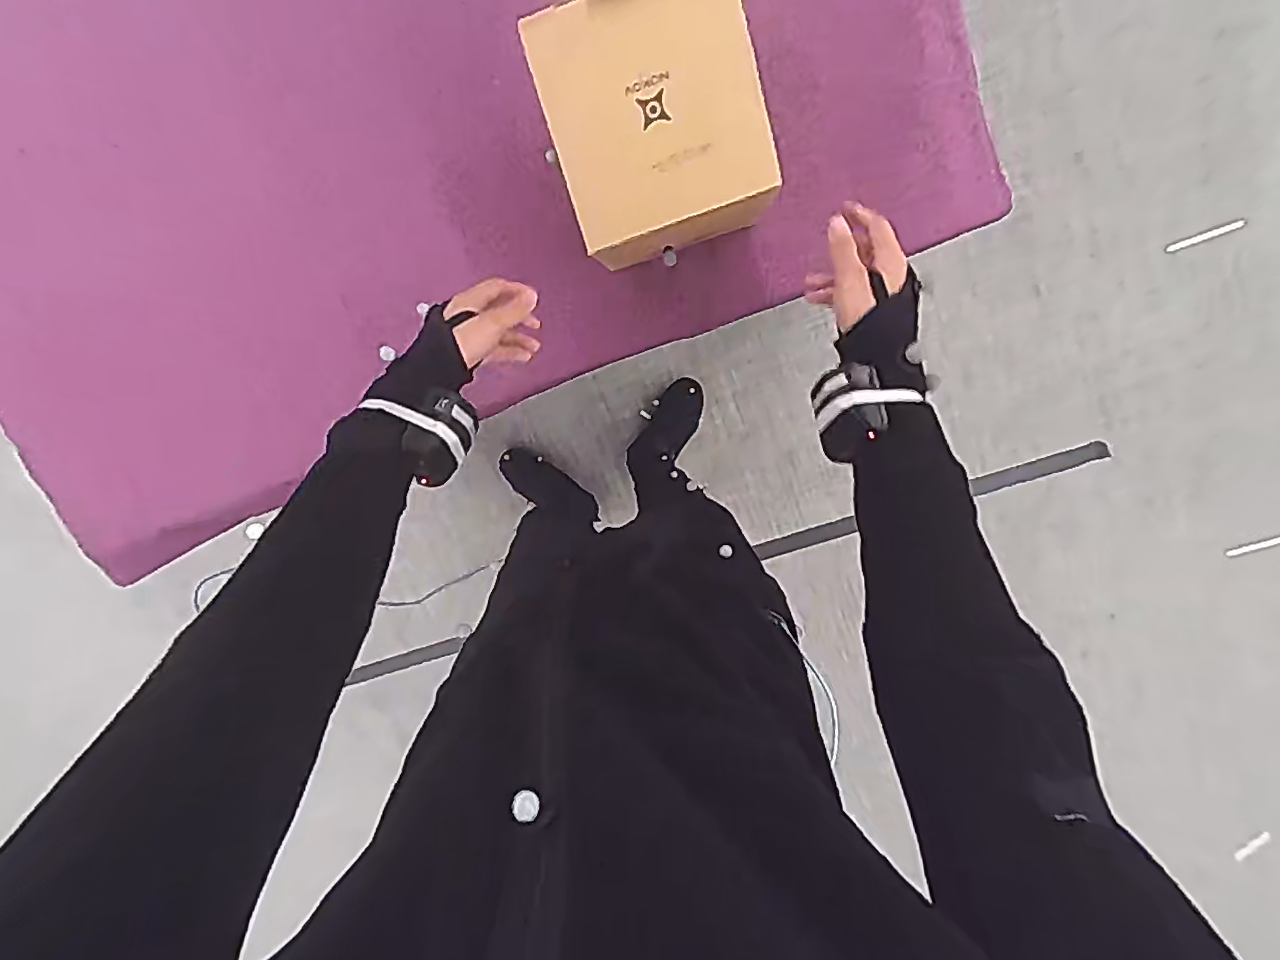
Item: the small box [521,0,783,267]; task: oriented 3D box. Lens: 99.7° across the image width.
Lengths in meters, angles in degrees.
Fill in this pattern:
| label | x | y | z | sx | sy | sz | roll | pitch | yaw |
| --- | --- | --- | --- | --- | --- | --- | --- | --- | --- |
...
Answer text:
| label | x | y | z | sx | sy | sz | roll | pitch | yaw |
| --- | --- | --- | --- | --- | --- | --- | --- | --- | --- |
| small box | 0.016 | -0.311 | 0.487 | 0.168 | 0.176 | 0.179 | -15 | 104 | 9 |
